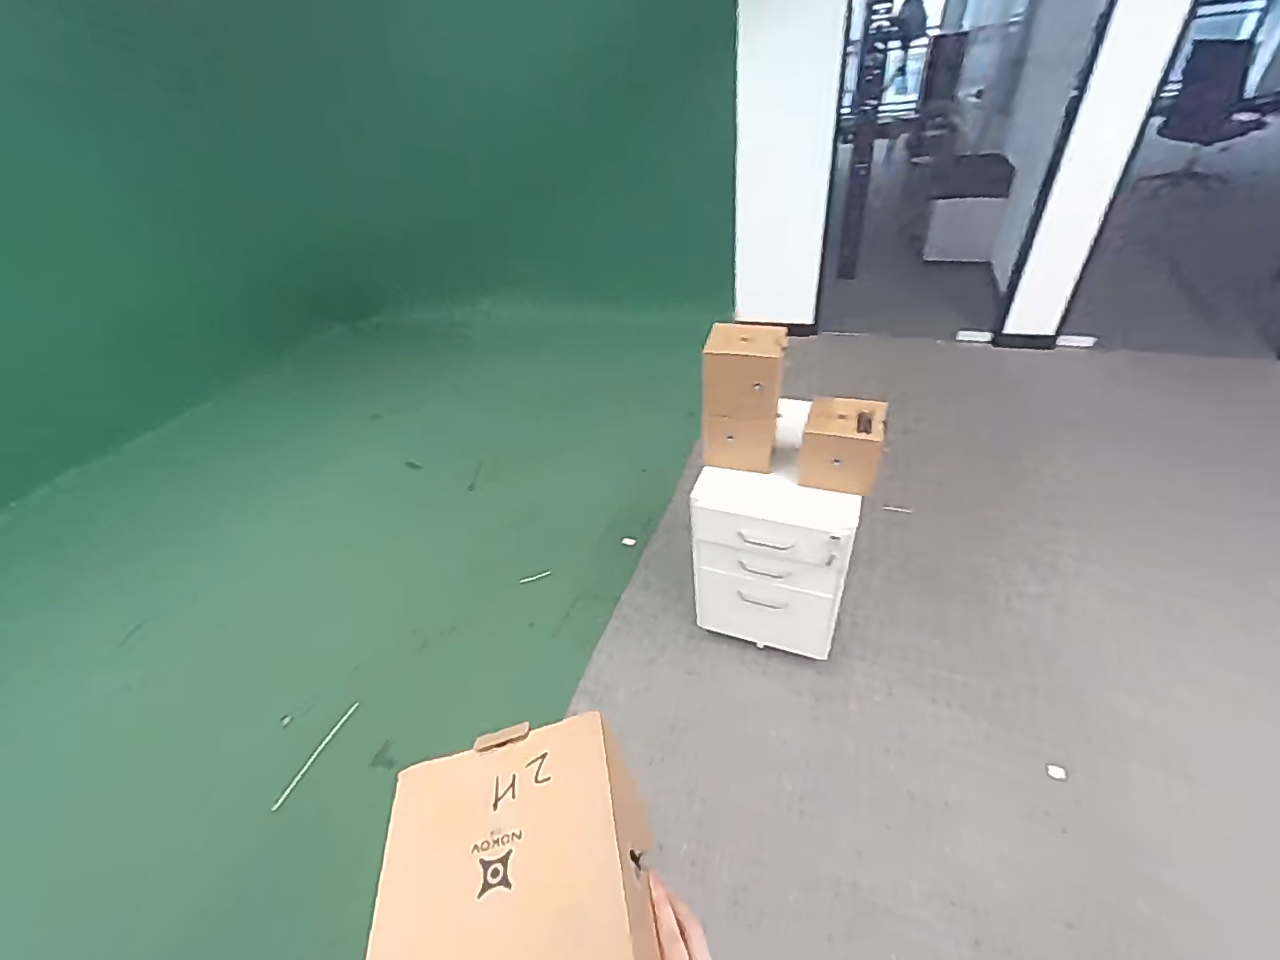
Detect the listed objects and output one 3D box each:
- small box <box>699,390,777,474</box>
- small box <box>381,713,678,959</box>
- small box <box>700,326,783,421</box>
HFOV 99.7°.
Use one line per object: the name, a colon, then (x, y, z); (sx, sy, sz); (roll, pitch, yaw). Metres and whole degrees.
small box: (0.259, -0.134, 1.428); (0.179, 0.176, 0.168); (8, 42, 16)
small box: (-0.070, 0.318, 0.409); (0.168, 0.176, 0.179); (-15, 35, -2)
small box: (0.247, -0.259, 1.325); (0.179, 0.176, 0.168); (7, 40, 15)
